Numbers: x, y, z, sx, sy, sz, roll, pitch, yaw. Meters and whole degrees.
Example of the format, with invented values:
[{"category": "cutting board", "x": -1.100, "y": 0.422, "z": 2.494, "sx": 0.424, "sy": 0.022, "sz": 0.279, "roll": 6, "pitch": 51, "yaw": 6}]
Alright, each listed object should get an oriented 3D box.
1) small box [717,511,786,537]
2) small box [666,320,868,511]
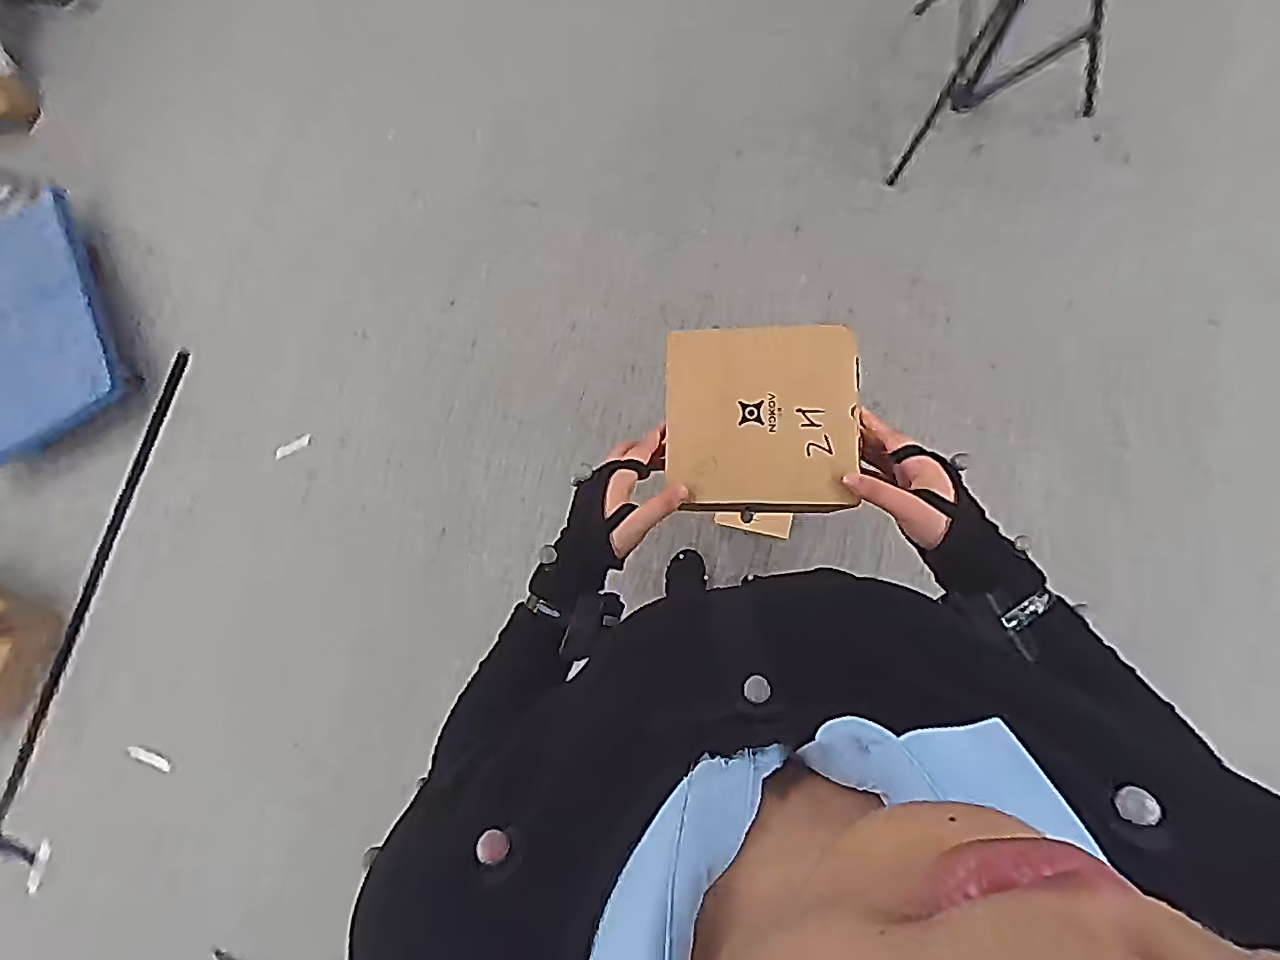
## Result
[{"category": "small box", "x": 0.299, "y": 0.049, "z": 1.439, "sx": 0.168, "sy": 0.176, "sz": 0.179, "roll": 9, "pitch": 82, "yaw": 9}, {"category": "small box", "x": 0.122, "y": -0.052, "z": 0.560, "sx": 0.179, "sy": 0.176, "sz": 0.168, "roll": -1, "pitch": 86, "yaw": 8}]
